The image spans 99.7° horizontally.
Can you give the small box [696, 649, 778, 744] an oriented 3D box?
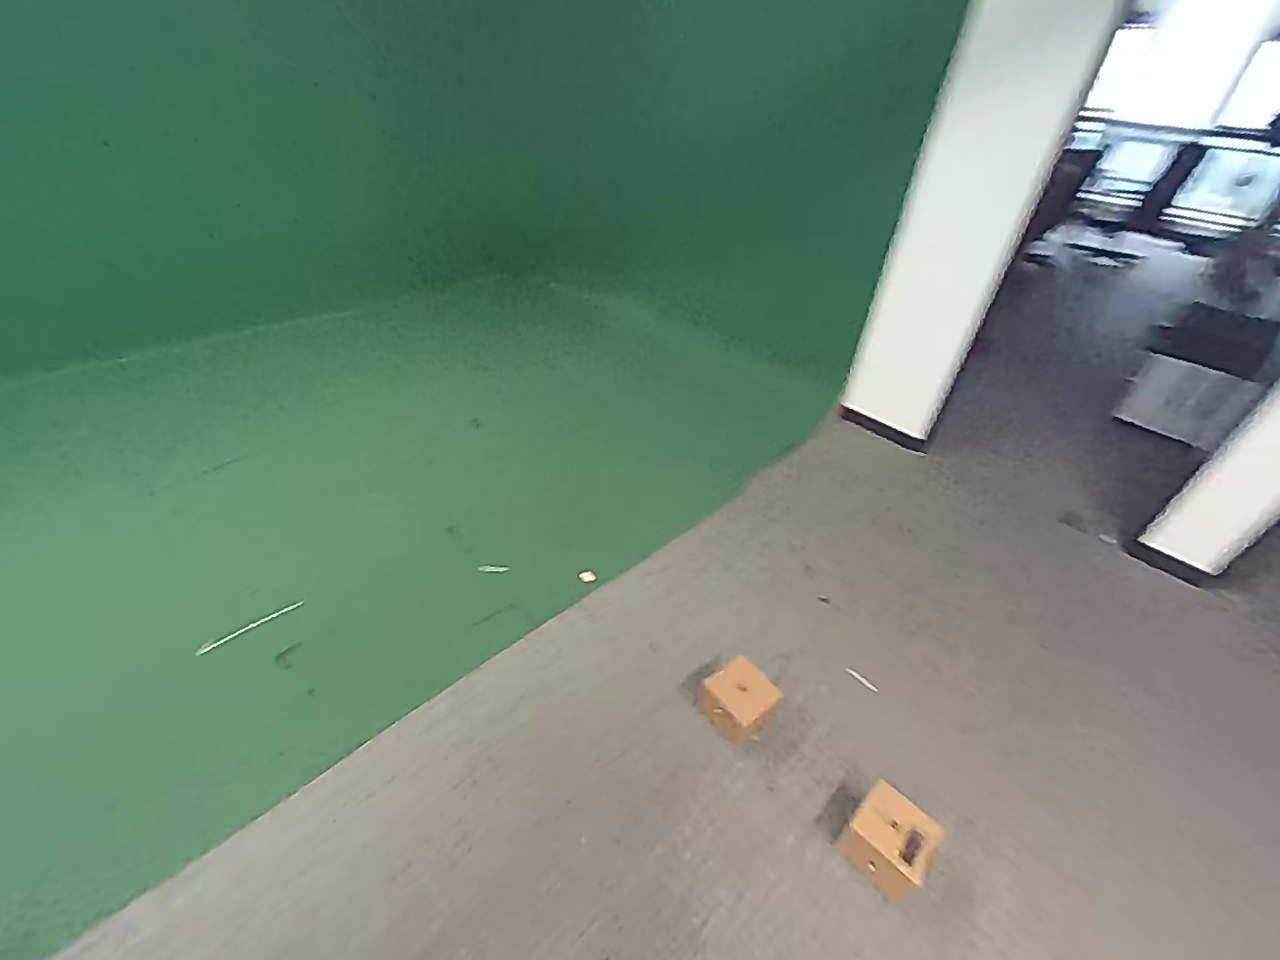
[{"bbox_3d":[0.290,0.667,1.662,0.168,0.176,0.179,-24,48,-29],"label":"small box"}]
